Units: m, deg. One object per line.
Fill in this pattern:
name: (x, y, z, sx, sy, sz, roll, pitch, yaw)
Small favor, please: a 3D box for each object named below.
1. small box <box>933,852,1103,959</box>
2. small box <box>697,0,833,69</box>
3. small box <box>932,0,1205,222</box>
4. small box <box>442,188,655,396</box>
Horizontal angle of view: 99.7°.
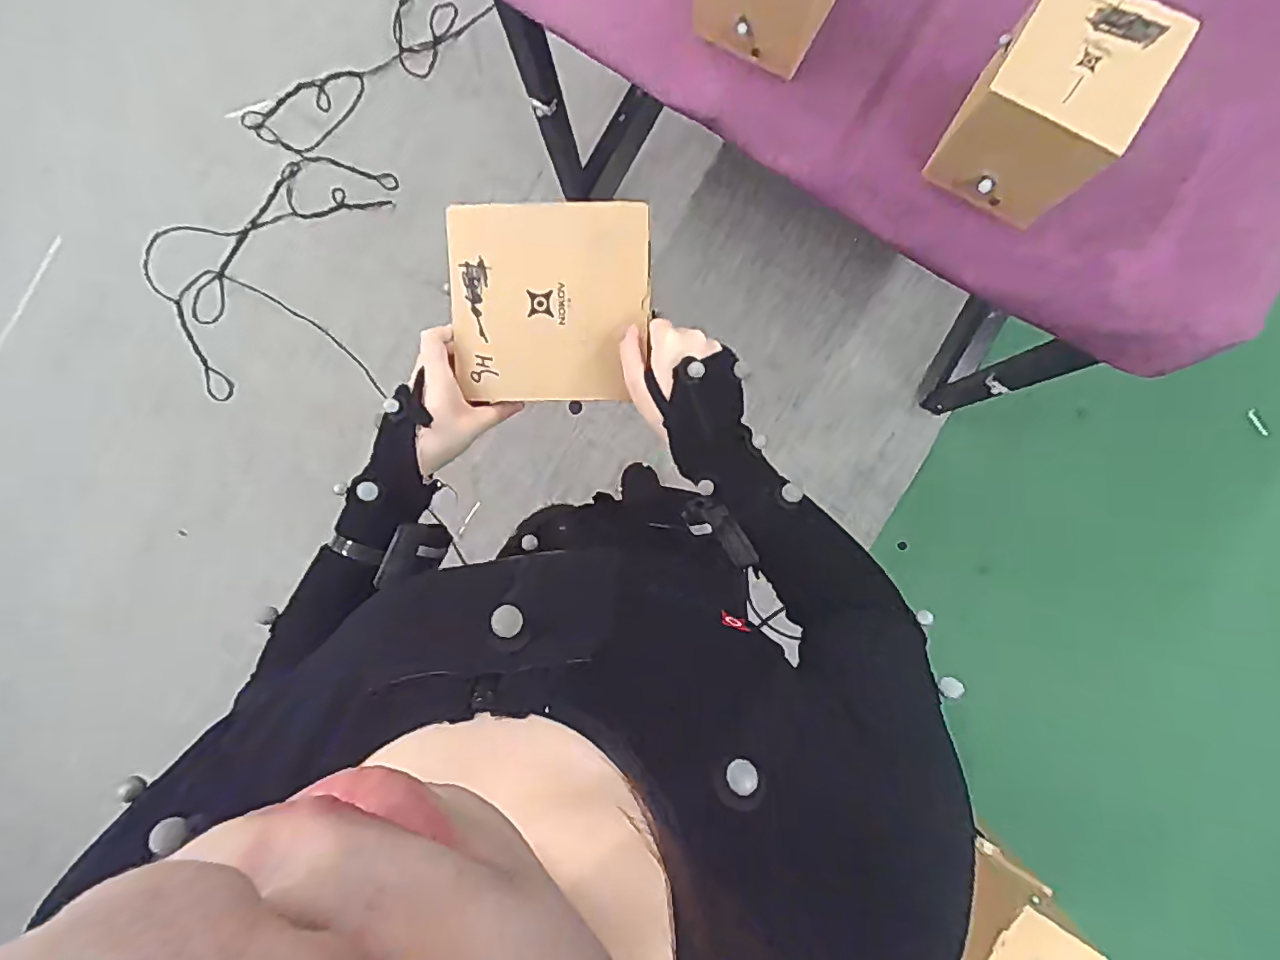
small box: (0.712, 0.869, 1.035, 0.179, 0.176, 0.168, 33, 91, 3)
small box: (0.181, -0.694, 0.692, 0.168, 0.176, 0.179, 30, 89, 4)
small box: (0.504, -0.466, 0.668, 0.168, 0.176, 0.179, 31, 91, 4)
small box: (-0.075, -0.170, 0.532, 0.179, 0.176, 0.168, 1, 100, 1)
